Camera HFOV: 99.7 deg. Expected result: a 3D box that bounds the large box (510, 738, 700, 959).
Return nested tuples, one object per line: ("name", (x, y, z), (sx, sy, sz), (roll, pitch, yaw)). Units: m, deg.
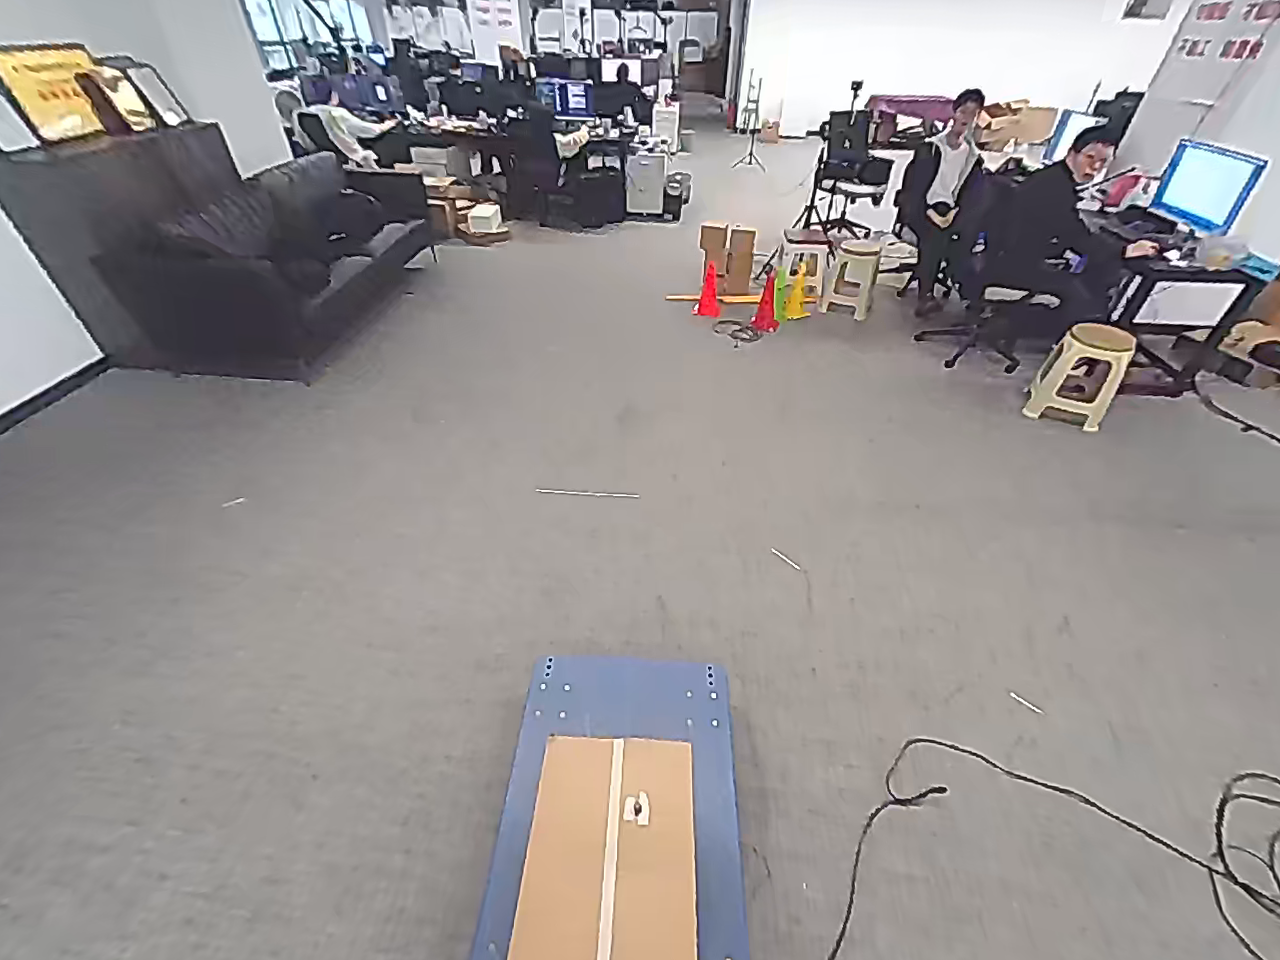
("large box", (-0.053, 0.799, 1.096), (0.320, 0.320, 0.408), (2, 39, 1))
